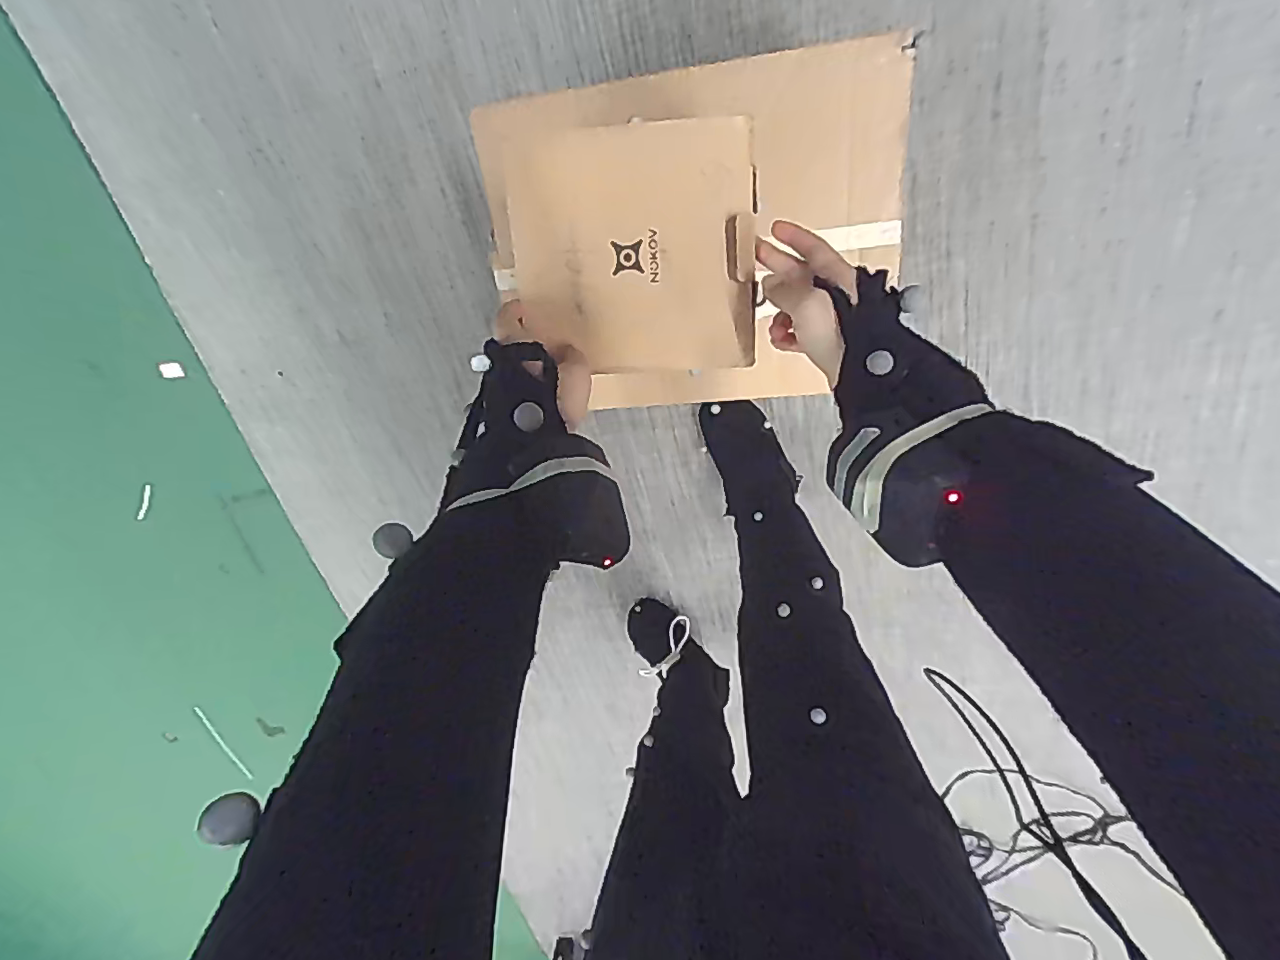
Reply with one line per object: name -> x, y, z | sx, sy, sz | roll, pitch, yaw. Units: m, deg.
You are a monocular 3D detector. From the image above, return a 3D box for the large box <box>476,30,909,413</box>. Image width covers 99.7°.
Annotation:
large box -> 0.069, -0.294, 0.685 | 0.408, 0.320, 0.320 | -3, 116, 9

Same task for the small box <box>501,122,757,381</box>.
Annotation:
small box -> 0.001, -0.182, 0.463 | 0.179, 0.176, 0.168 | -2, 108, 6
